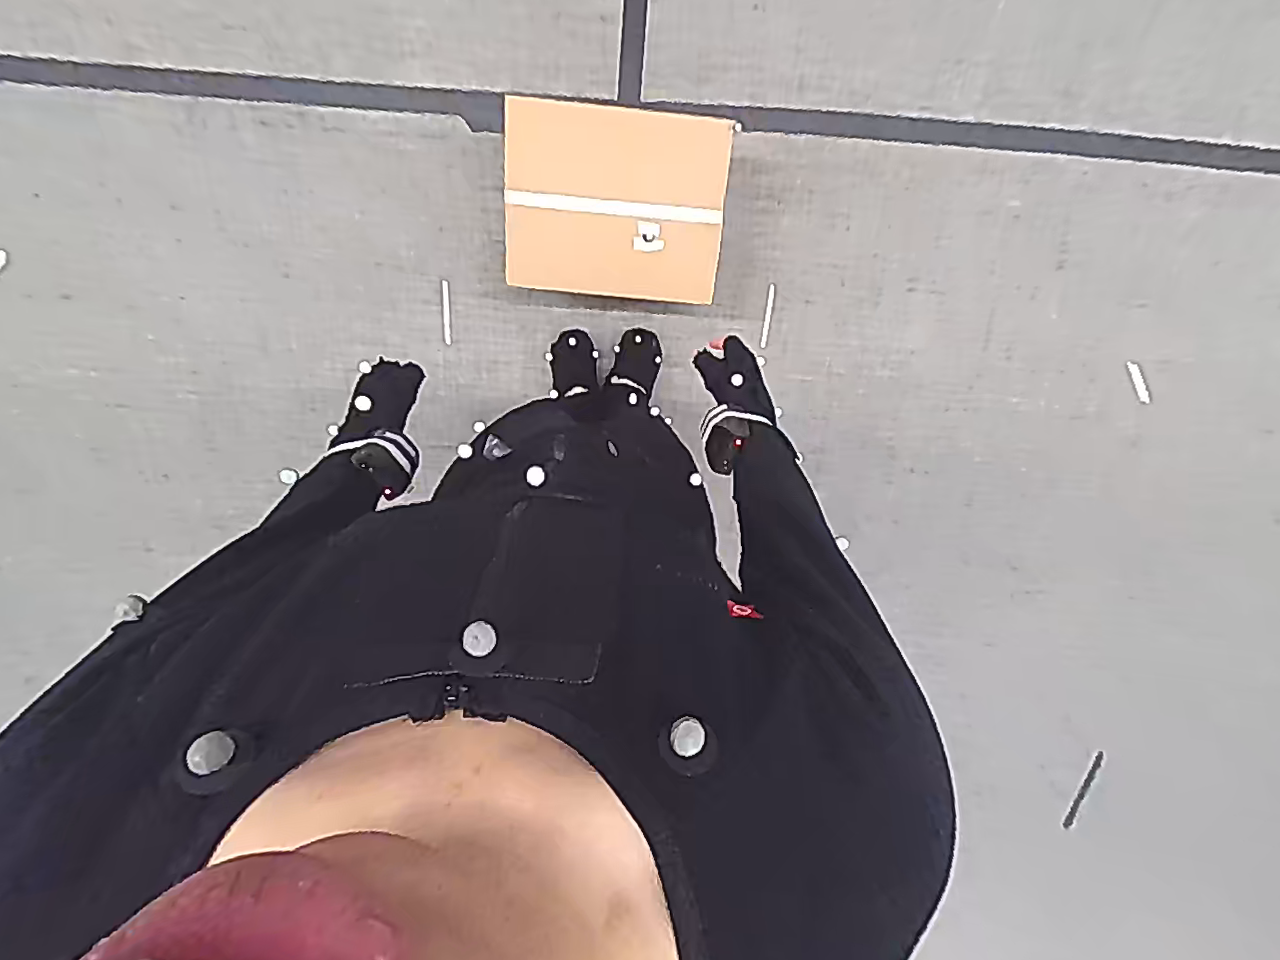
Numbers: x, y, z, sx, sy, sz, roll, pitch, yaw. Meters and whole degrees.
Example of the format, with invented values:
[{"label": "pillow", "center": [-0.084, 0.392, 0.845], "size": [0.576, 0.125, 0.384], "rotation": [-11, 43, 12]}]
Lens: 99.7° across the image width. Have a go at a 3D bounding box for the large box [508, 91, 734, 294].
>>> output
[{"label": "large box", "center": [-0.048, -0.574, 1.136], "size": [0.408, 0.320, 0.320], "rotation": [4, 113, -4]}]
